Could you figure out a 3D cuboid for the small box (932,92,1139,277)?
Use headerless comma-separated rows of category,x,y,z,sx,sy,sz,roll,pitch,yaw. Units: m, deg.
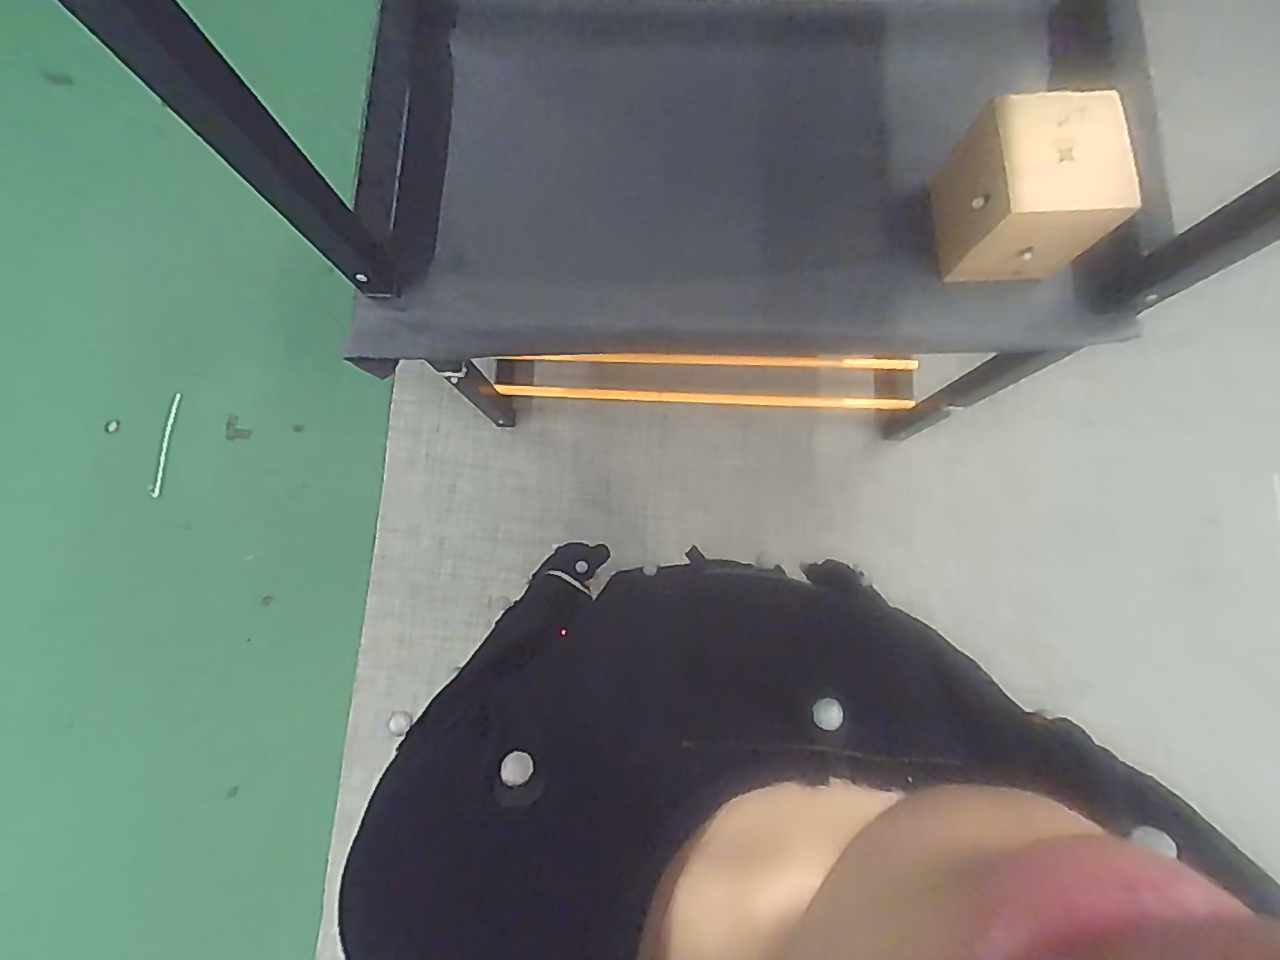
small box,0.550,-0.409,0.778,0.168,0.176,0.179,-2,79,1
